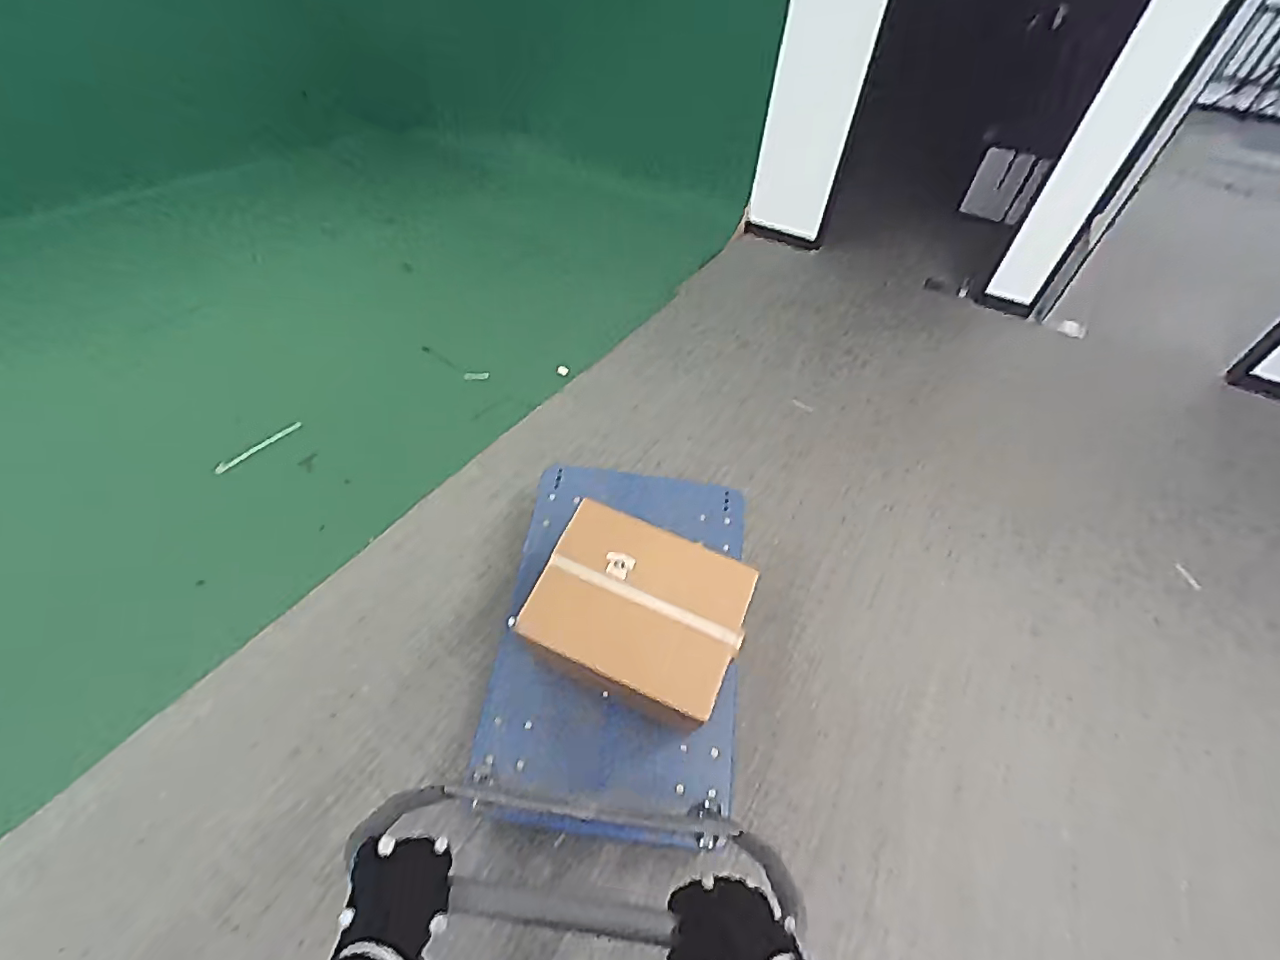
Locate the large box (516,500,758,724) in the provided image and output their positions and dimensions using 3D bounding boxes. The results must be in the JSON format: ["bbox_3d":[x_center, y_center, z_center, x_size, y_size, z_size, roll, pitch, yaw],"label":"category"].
[{"bbox_3d":[0.003,0.301,1.197,0.408,0.320,0.320,21,63,11],"label":"large box"}]
